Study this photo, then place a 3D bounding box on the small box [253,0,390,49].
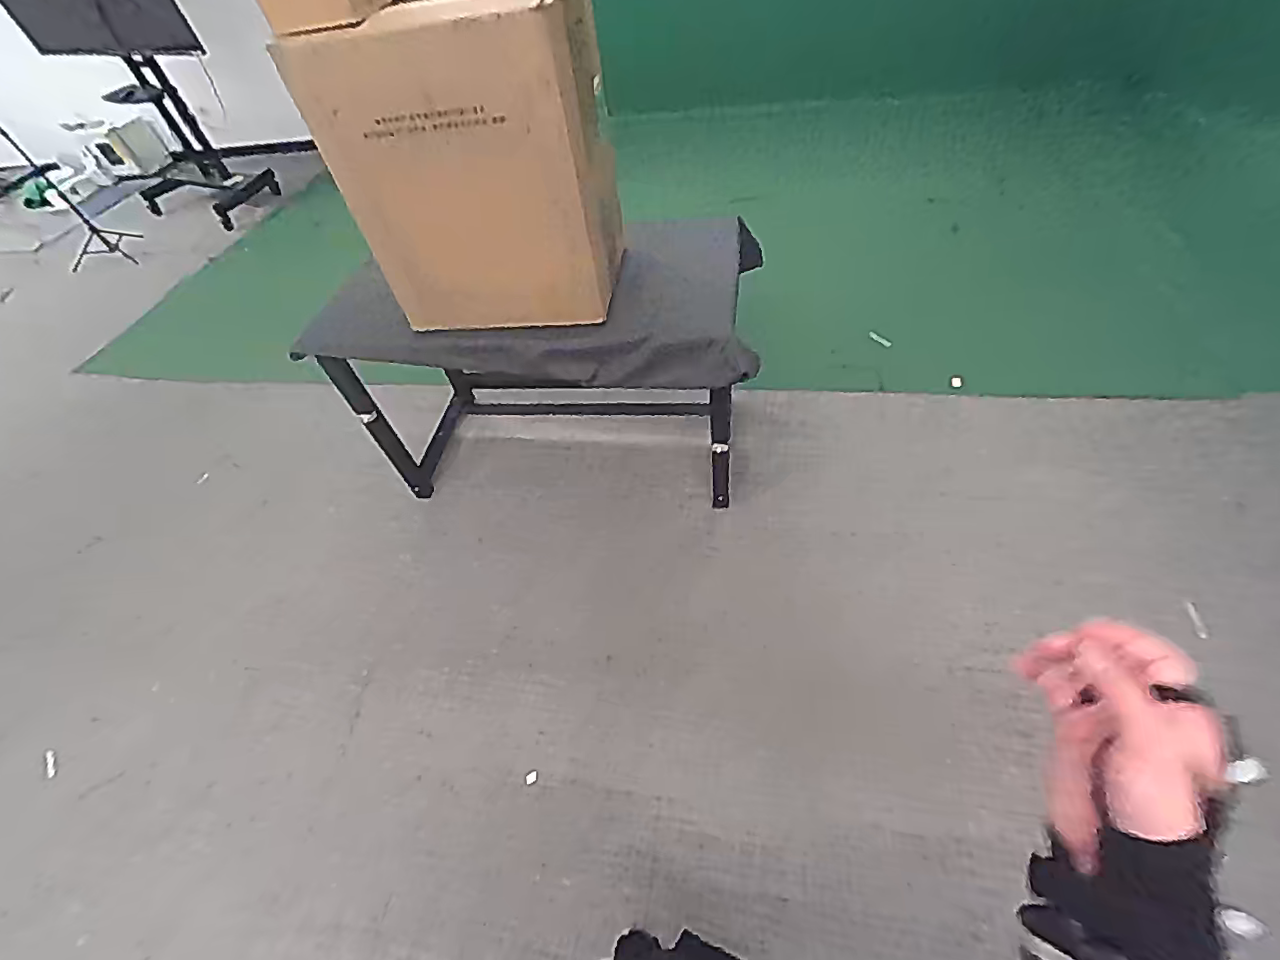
[{"bbox_3d":[-0.597,-0.912,0.977,0.179,0.176,0.168,-1,52,11],"label":"small box"}]
